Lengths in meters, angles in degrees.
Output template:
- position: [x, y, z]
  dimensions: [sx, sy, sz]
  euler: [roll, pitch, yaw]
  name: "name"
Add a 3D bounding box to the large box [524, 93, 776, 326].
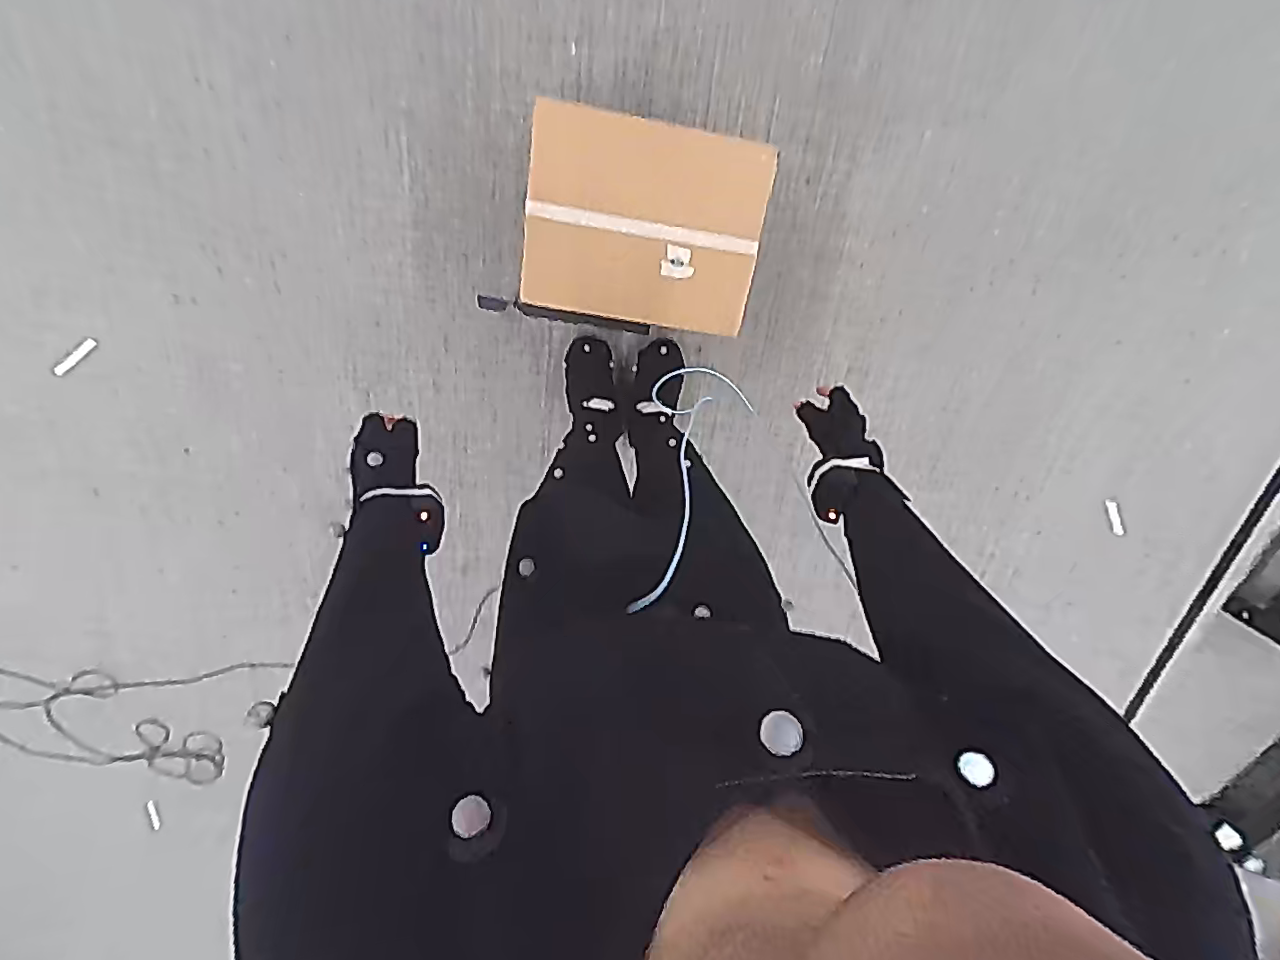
- position: [-0.001, -0.510, 1.069]
  dimensions: [0.408, 0.320, 0.320]
  euler: [8, 114, -7]
  name: "large box"
